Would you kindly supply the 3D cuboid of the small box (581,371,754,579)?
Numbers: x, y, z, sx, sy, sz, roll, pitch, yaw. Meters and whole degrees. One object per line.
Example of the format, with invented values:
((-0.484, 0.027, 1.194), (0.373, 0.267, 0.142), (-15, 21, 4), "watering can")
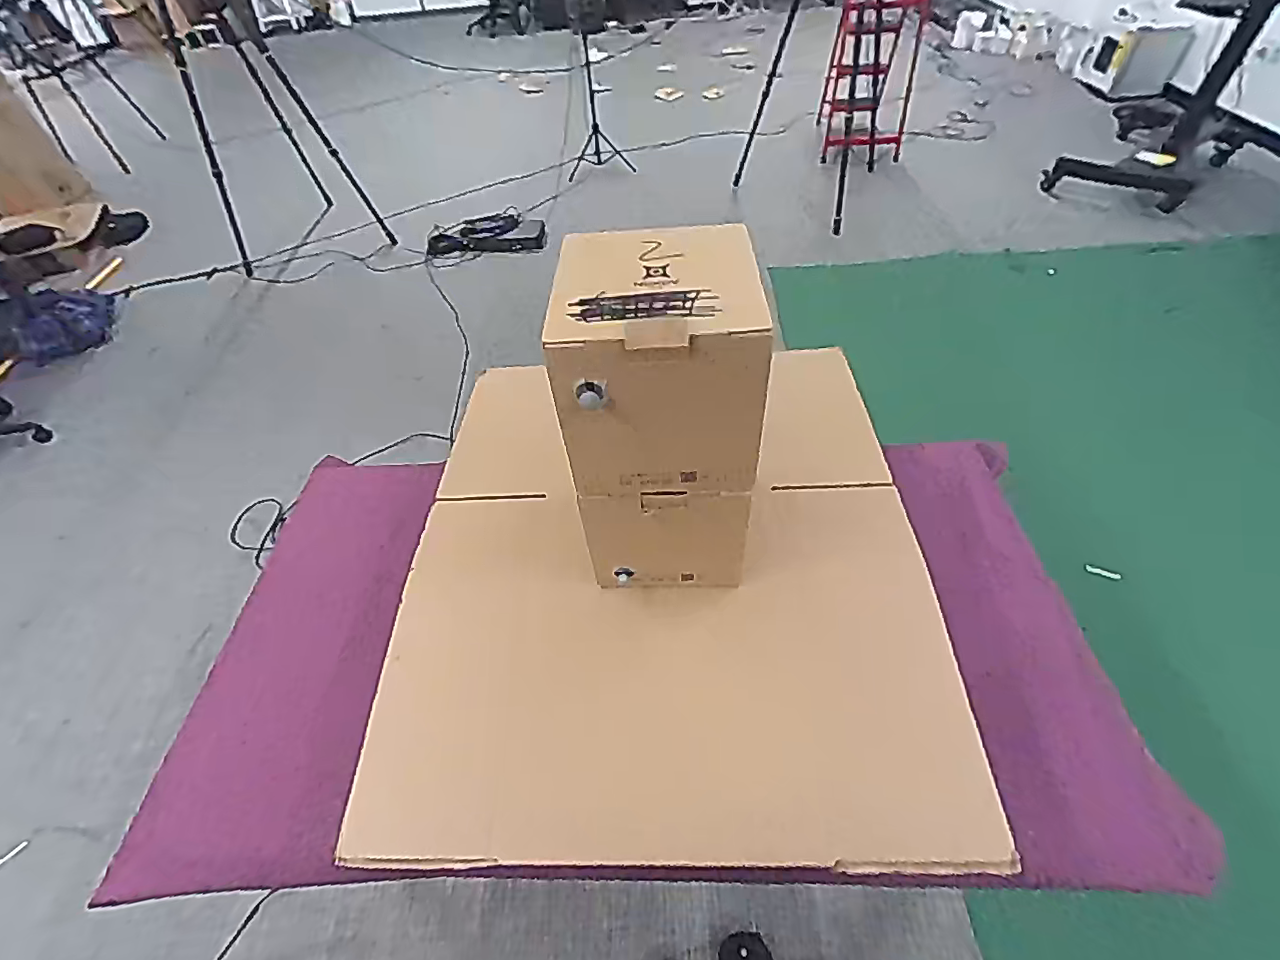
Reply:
((0.030, 0.002, 0.612), (0.168, 0.176, 0.179), (-4, 50, 2), "small box")
